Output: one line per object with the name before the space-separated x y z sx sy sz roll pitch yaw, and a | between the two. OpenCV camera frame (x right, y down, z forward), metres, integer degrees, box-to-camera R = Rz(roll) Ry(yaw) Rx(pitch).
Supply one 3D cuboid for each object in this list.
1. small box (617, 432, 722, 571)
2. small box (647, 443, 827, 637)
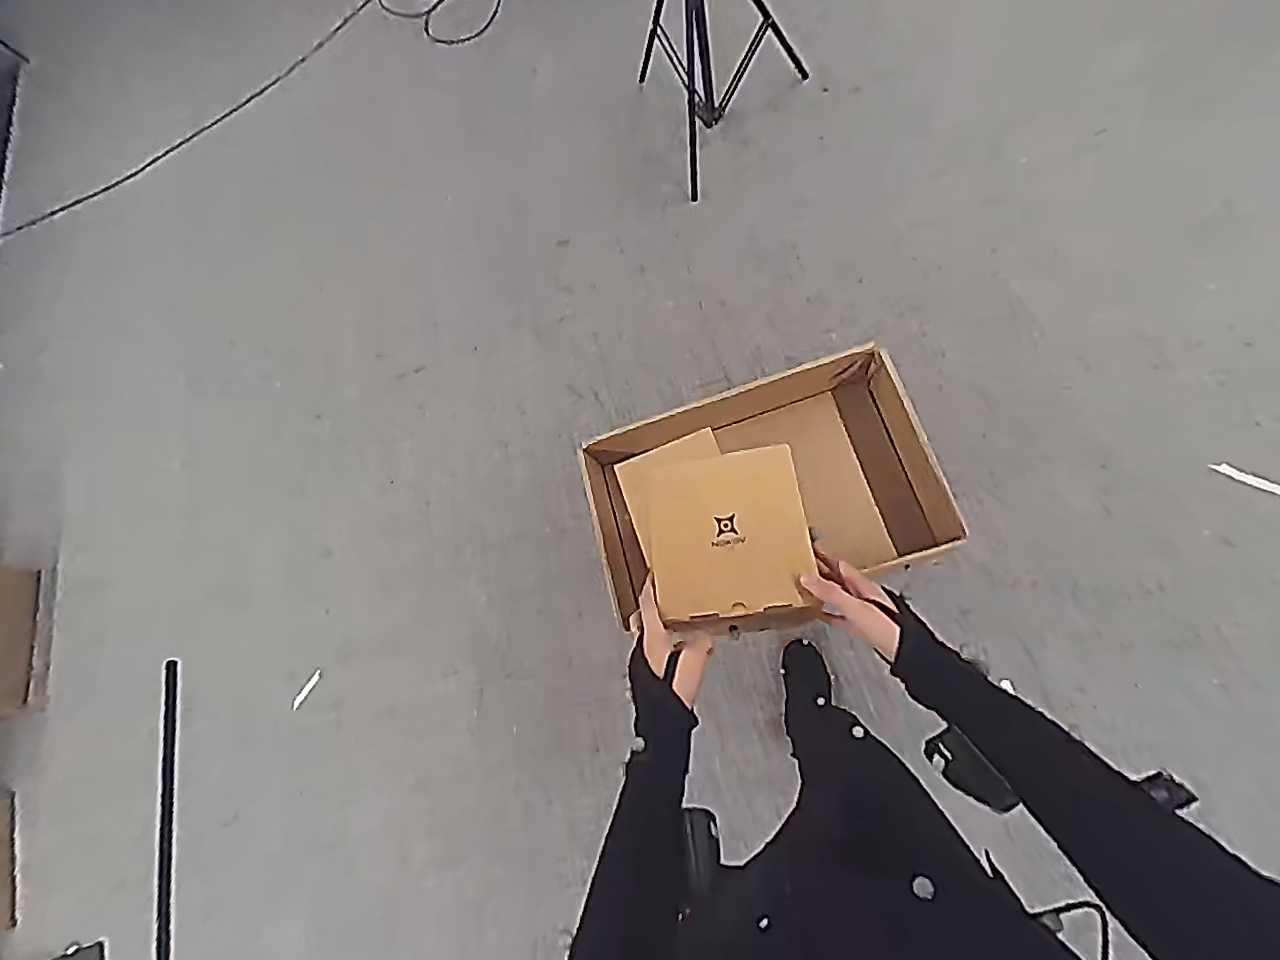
small box | 0.081 0.053 0.888 0.168 0.176 0.179 -22 71 7
small box | 0.110 0.080 0.641 0.168 0.176 0.179 -11 67 8
